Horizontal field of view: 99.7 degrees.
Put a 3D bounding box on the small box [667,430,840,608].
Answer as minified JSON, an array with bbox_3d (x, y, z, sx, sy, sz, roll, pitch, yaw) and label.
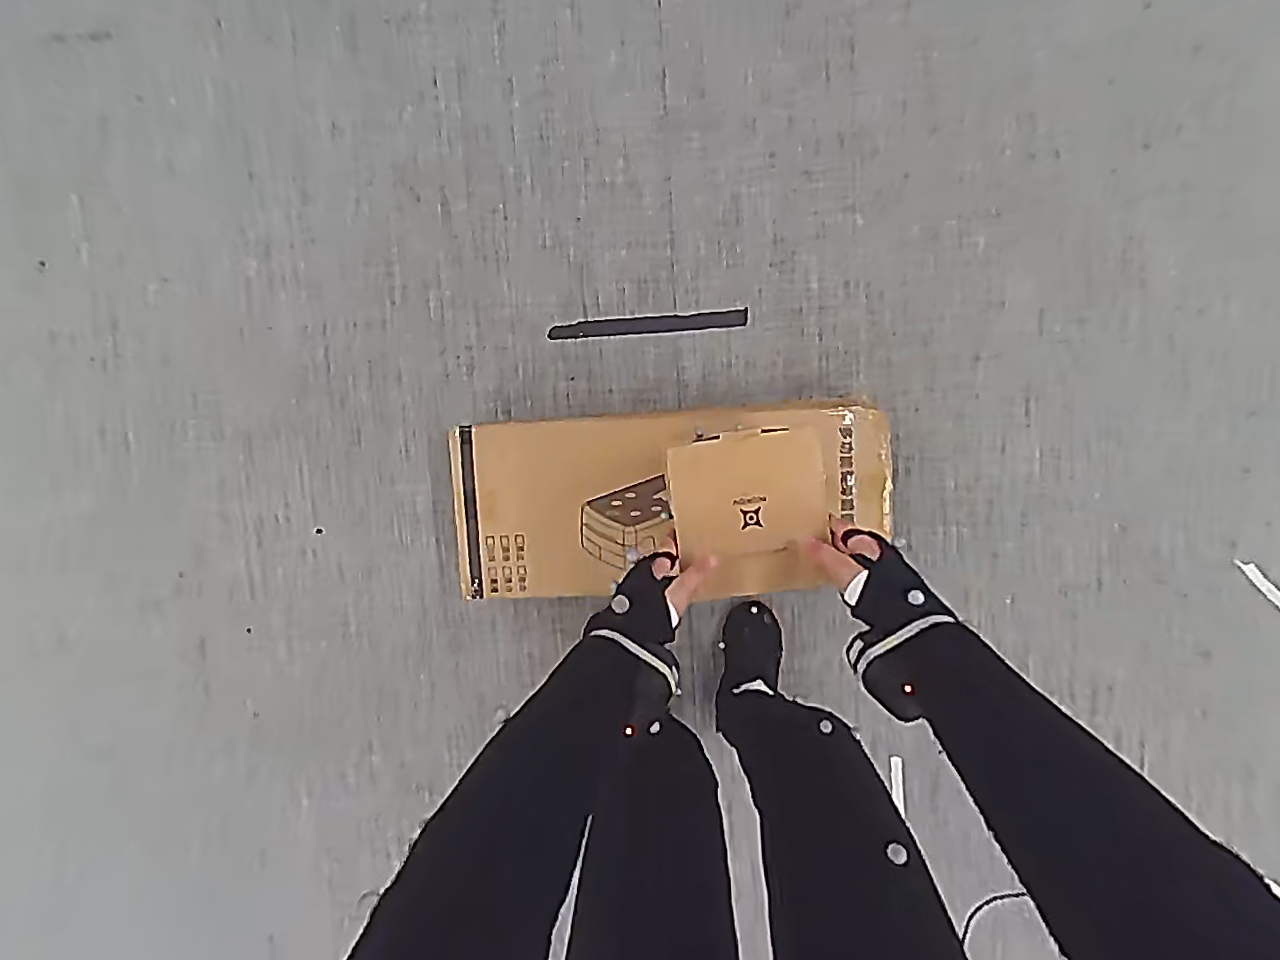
[{"bbox_3d":[0.124,0.040,0.656,0.168,0.176,0.179,-8,93,2],"label":"small box"}]
